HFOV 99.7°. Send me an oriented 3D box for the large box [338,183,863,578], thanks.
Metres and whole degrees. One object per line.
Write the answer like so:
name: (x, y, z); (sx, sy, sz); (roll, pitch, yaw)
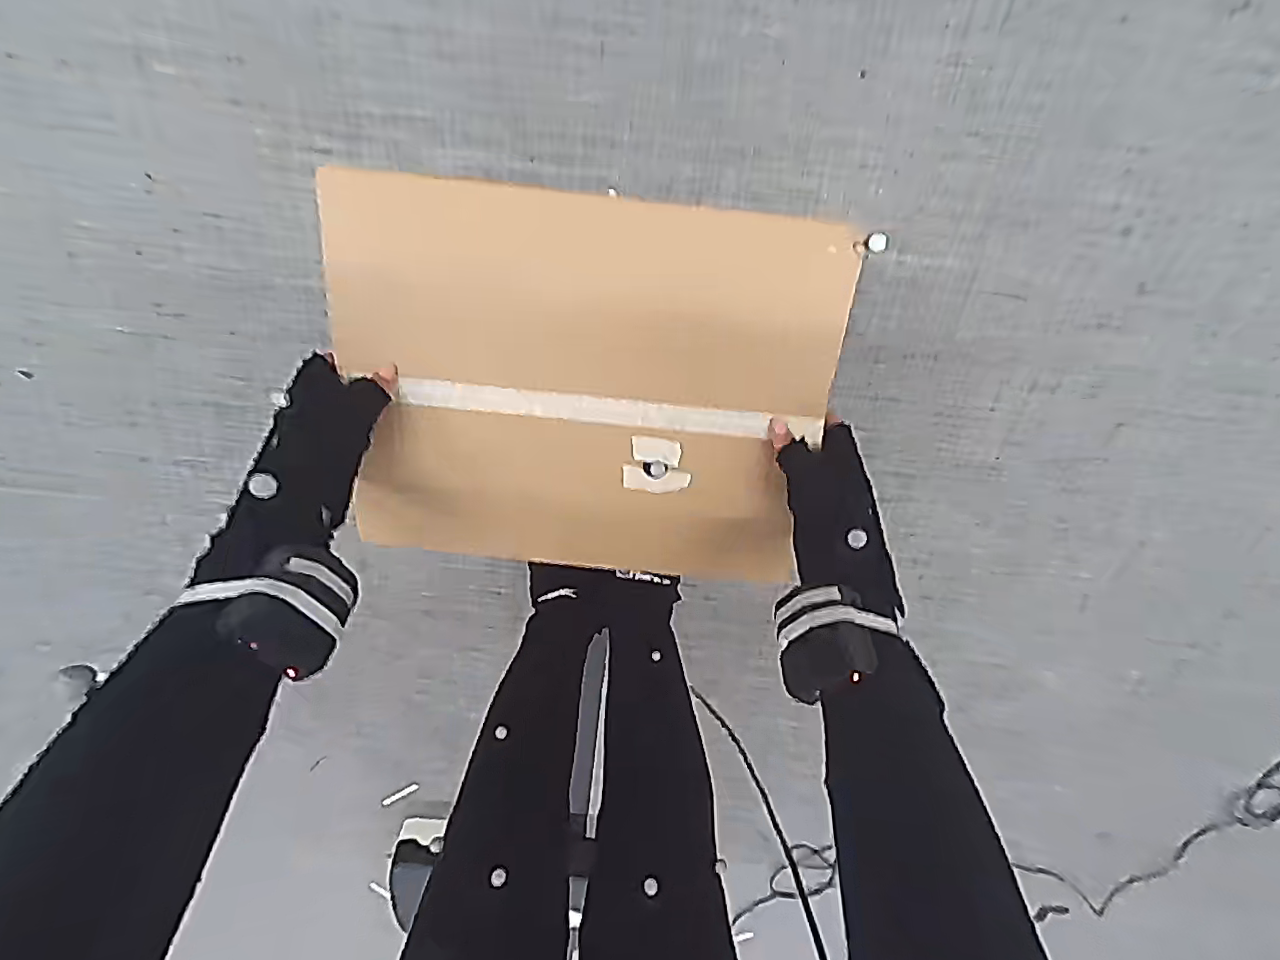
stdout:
large box: (-0.040, -0.117, 0.596); (0.408, 0.320, 0.320); (5, 113, -1)
